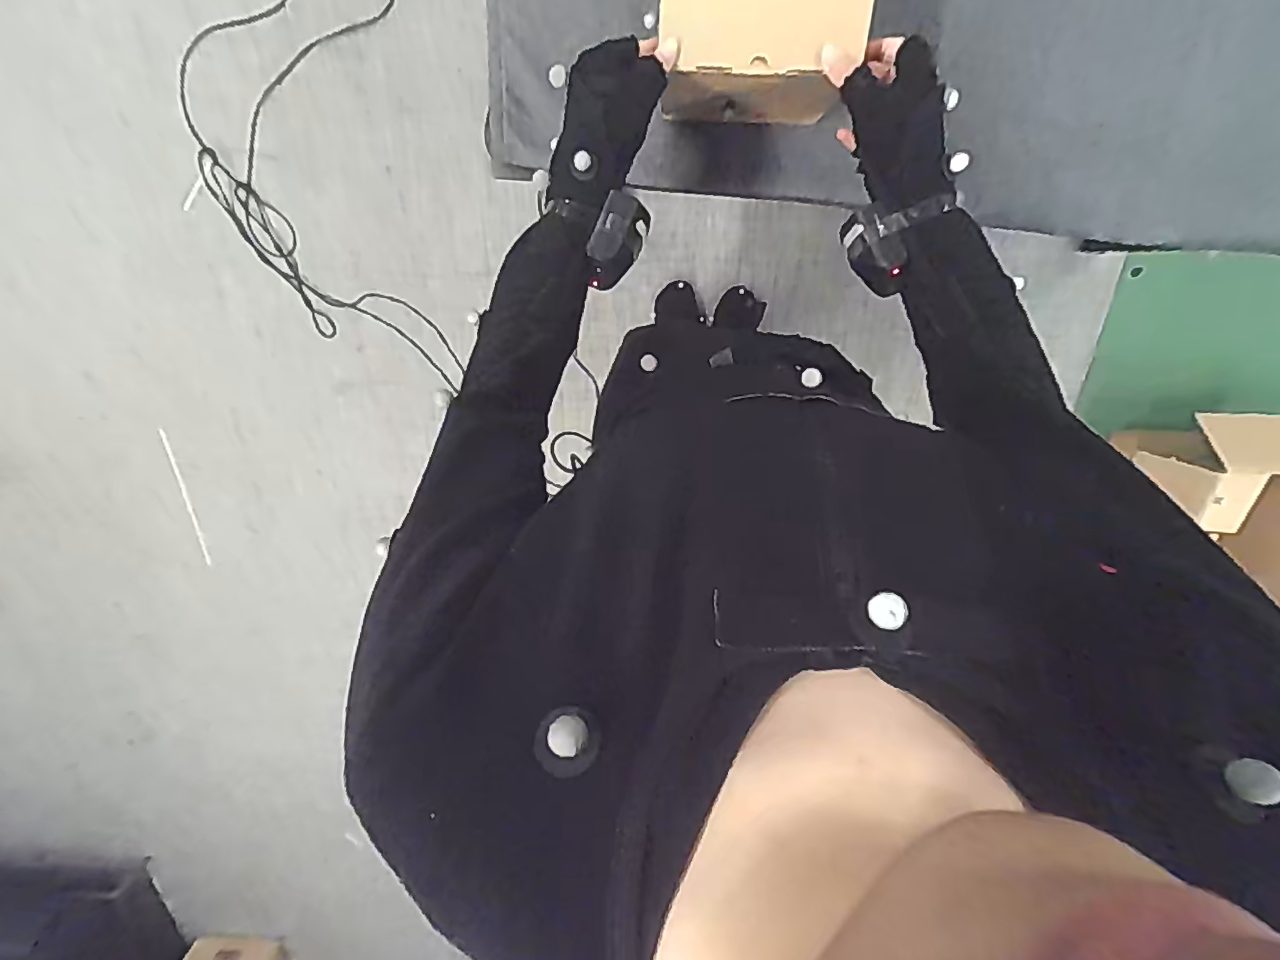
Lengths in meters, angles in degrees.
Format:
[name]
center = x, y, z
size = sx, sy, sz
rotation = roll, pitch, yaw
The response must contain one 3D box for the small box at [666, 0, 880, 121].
[small box]
center = 0.110, -0.441, 0.477
size = 0.168, 0.176, 0.179
rotation = 4, 113, 3
